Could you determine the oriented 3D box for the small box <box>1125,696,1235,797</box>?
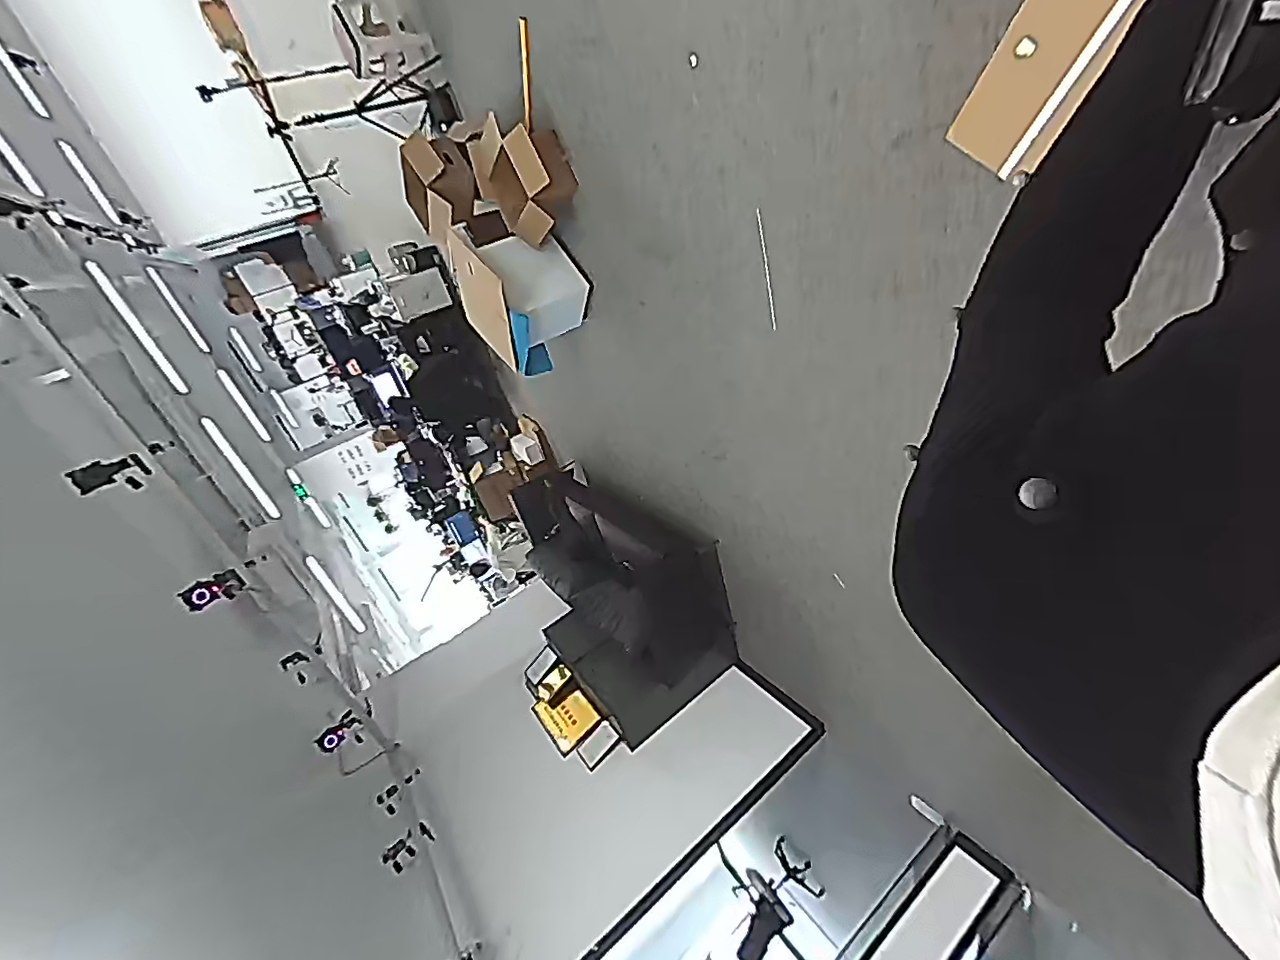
[{"bbox_3d":[1.574,0.766,1.582,0.179,0.176,0.168,24,138,53],"label":"small box"}]
